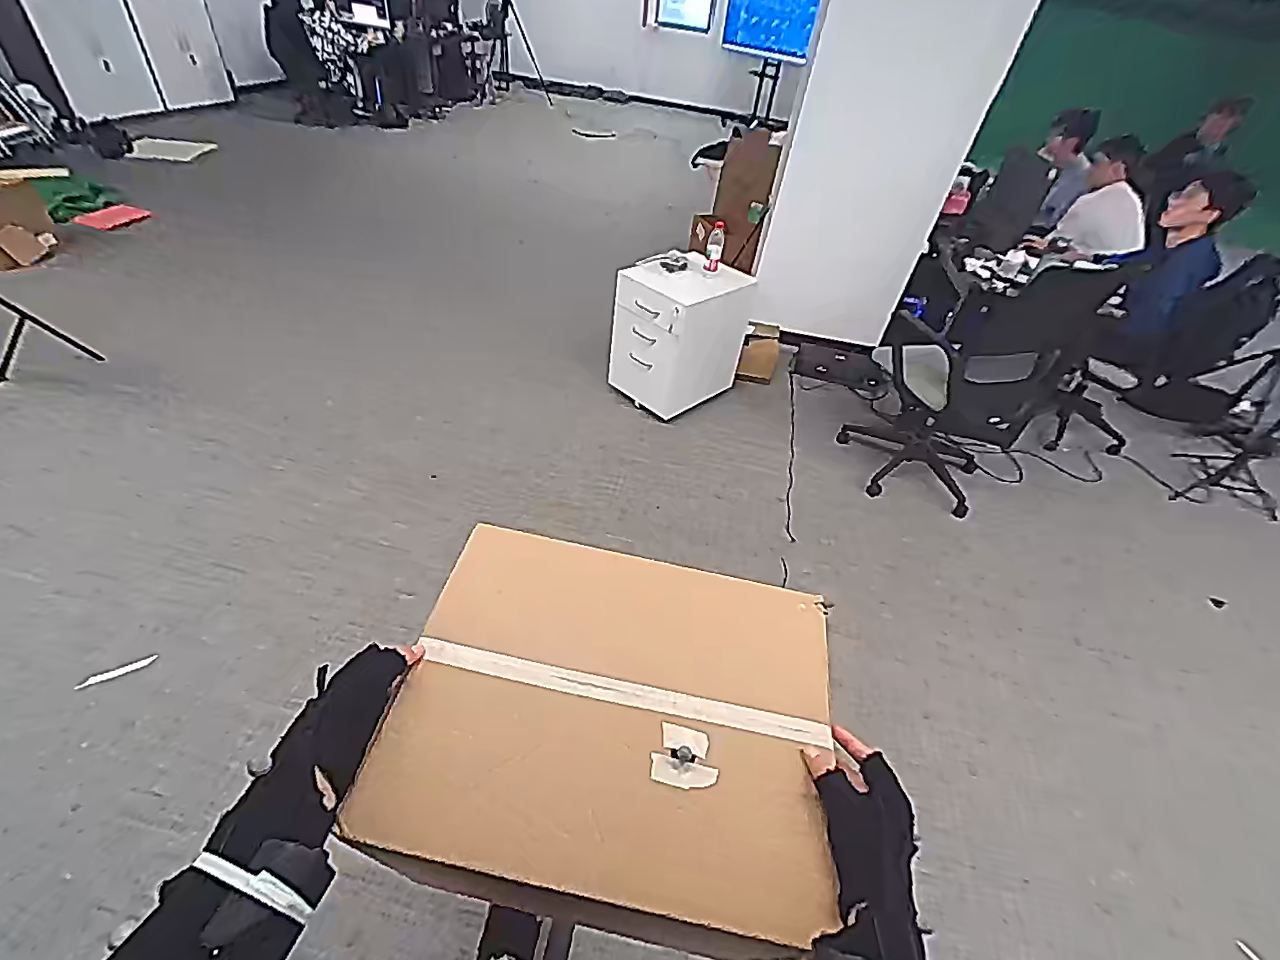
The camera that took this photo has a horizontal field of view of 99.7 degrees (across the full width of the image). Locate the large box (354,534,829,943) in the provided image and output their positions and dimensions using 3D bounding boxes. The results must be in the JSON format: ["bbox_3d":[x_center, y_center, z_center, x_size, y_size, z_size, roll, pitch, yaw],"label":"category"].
[{"bbox_3d":[-0.036,0.308,0.645,0.408,0.320,0.320,12,48,2],"label":"large box"}]
